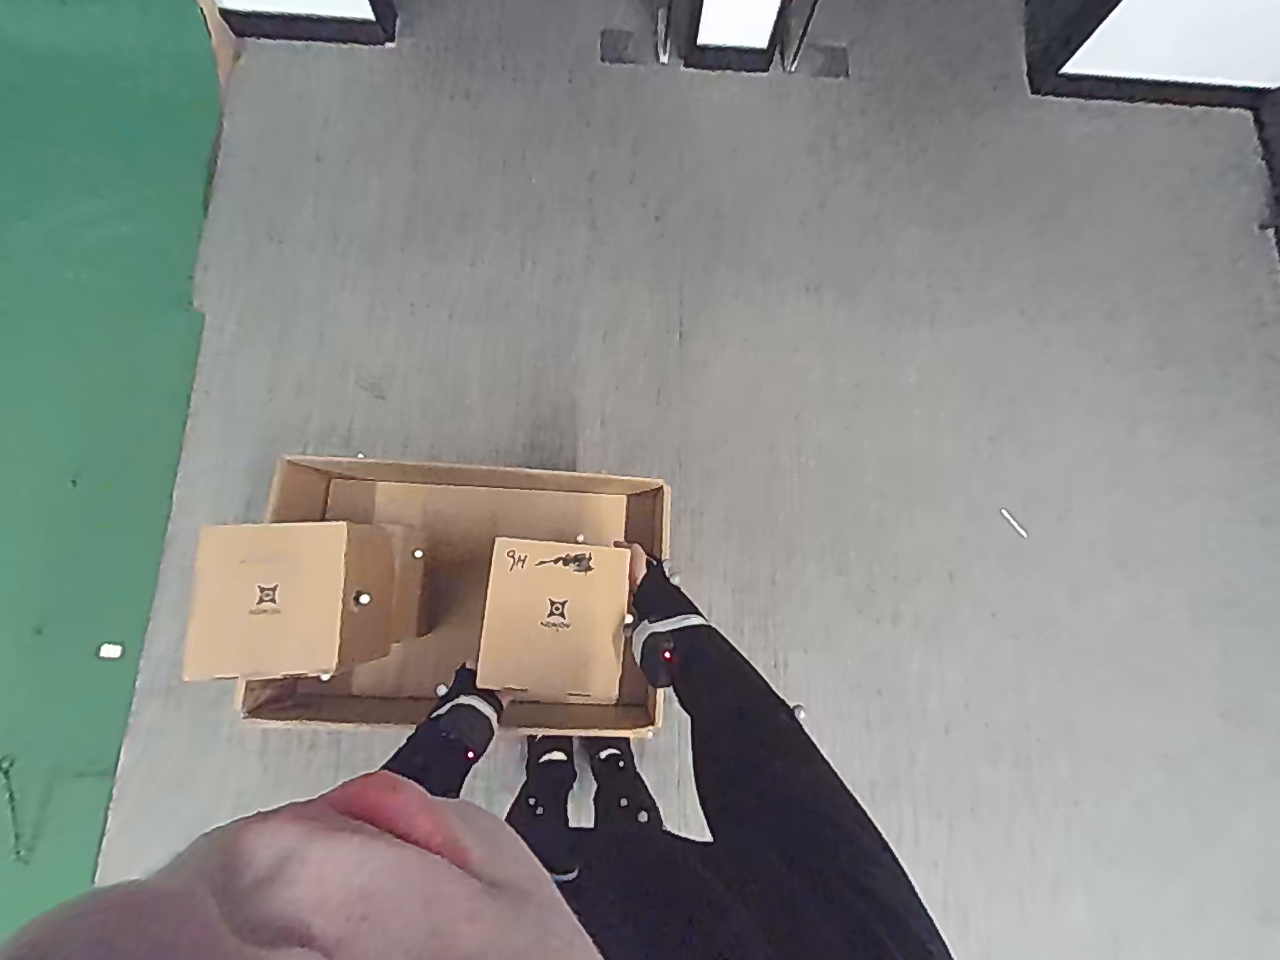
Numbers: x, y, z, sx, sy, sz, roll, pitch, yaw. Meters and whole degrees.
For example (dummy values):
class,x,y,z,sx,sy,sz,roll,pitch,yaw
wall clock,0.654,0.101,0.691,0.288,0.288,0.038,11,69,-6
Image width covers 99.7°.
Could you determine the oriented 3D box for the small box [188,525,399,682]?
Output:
class,x,y,z,sx,sy,sz,roll,pitch,yaw
small box,-0.427,0.153,0.697,0.168,0.176,0.179,0,79,-5
